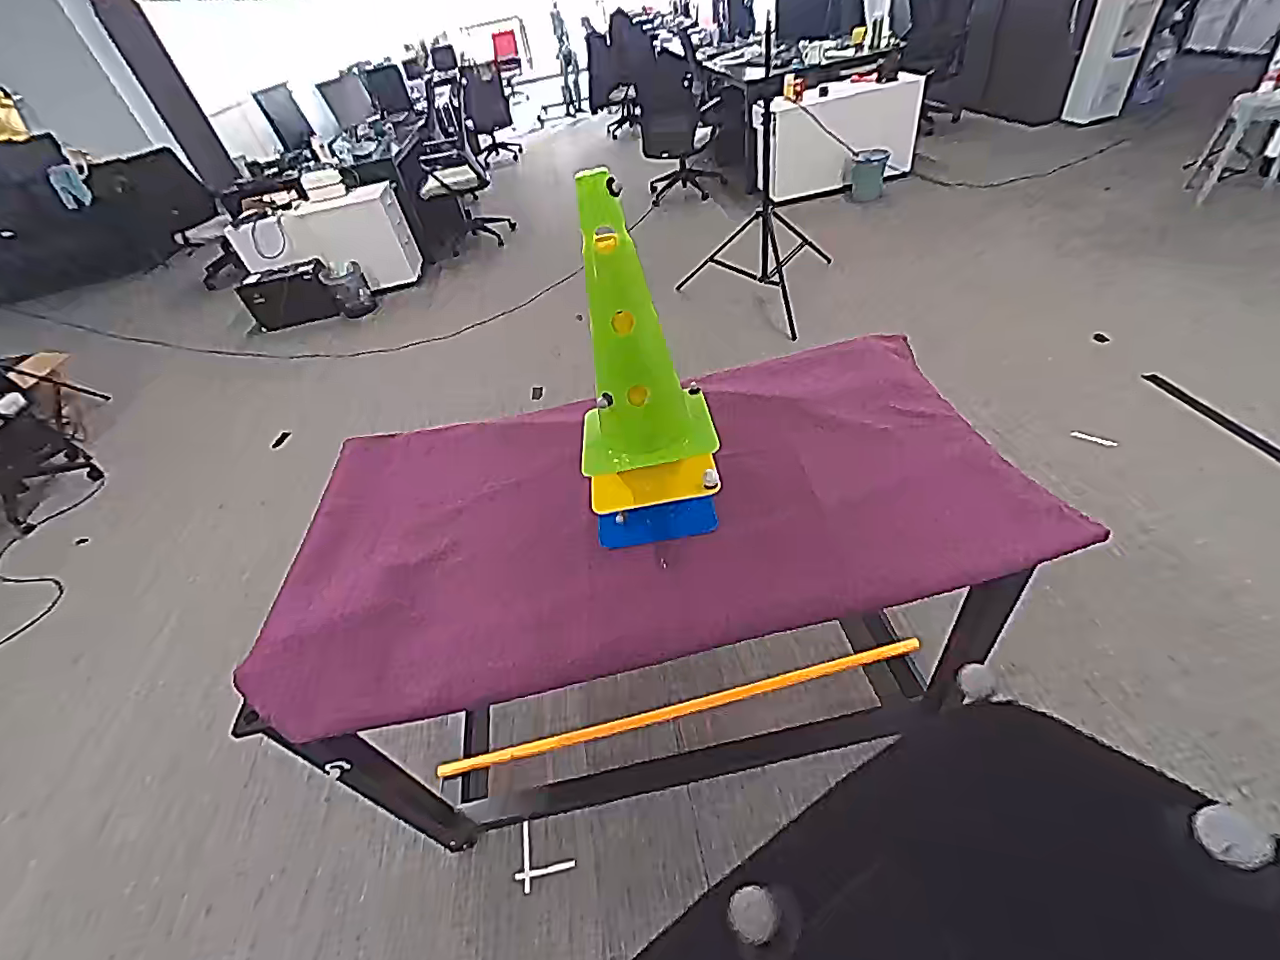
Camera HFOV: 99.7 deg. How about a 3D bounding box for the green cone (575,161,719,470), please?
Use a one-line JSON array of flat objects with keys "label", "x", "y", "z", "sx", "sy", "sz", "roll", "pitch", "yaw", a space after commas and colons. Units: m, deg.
[{"label": "green cone", "x": -0.025, "y": -0.222, "z": 0.730, "sx": 0.200, "sy": 0.368, "sz": 0.202, "roll": -12, "pitch": 36, "yaw": 3}]
